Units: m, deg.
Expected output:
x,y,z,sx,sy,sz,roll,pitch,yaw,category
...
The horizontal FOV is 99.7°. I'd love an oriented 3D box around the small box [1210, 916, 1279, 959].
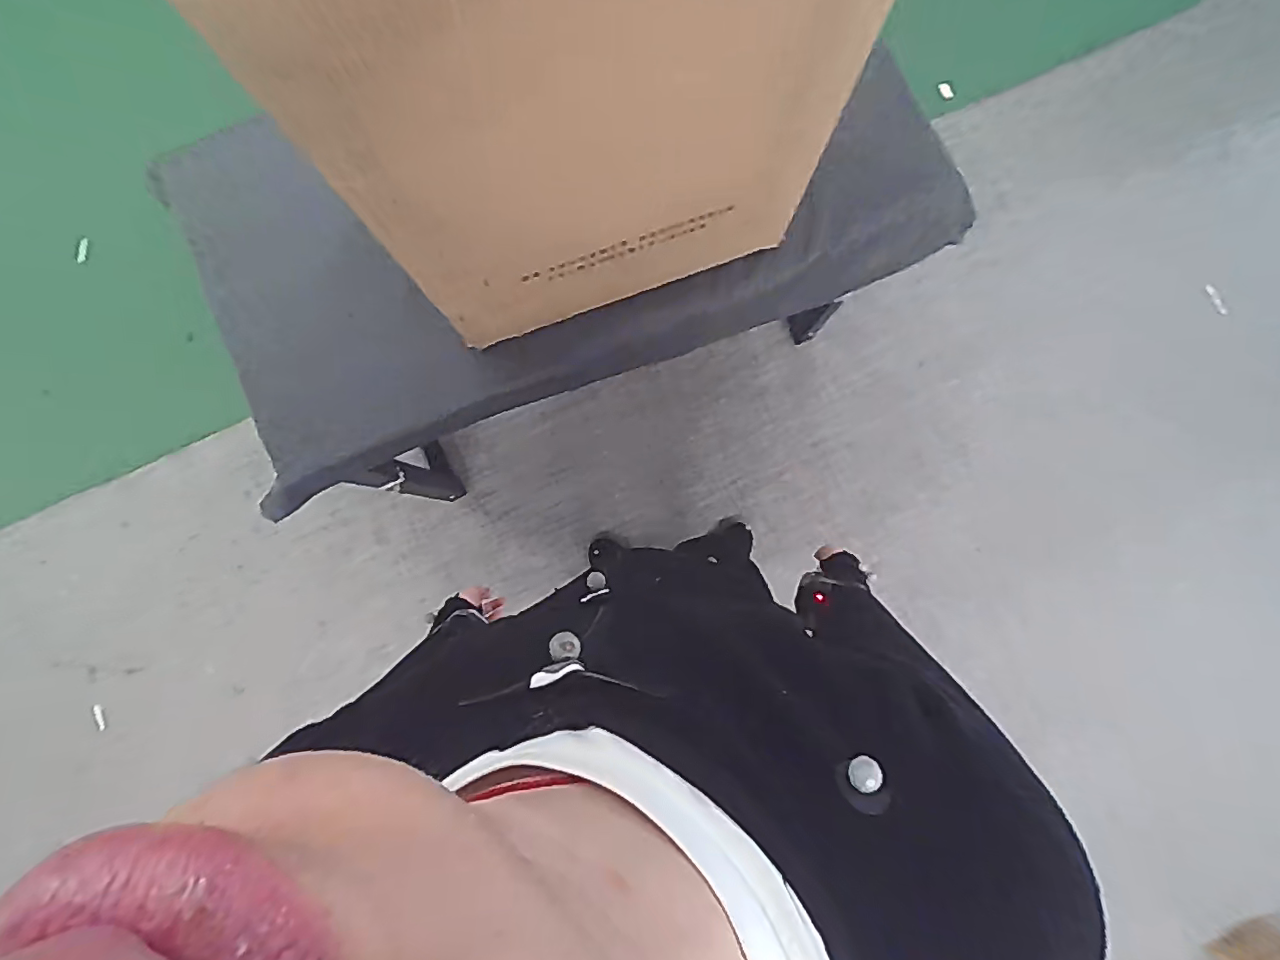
x,y,z,sx,sy,sz,roll,pitch,yaw,category
1.630,1.272,1.366,0.168,0.176,0.179,-23,85,-3,small box
